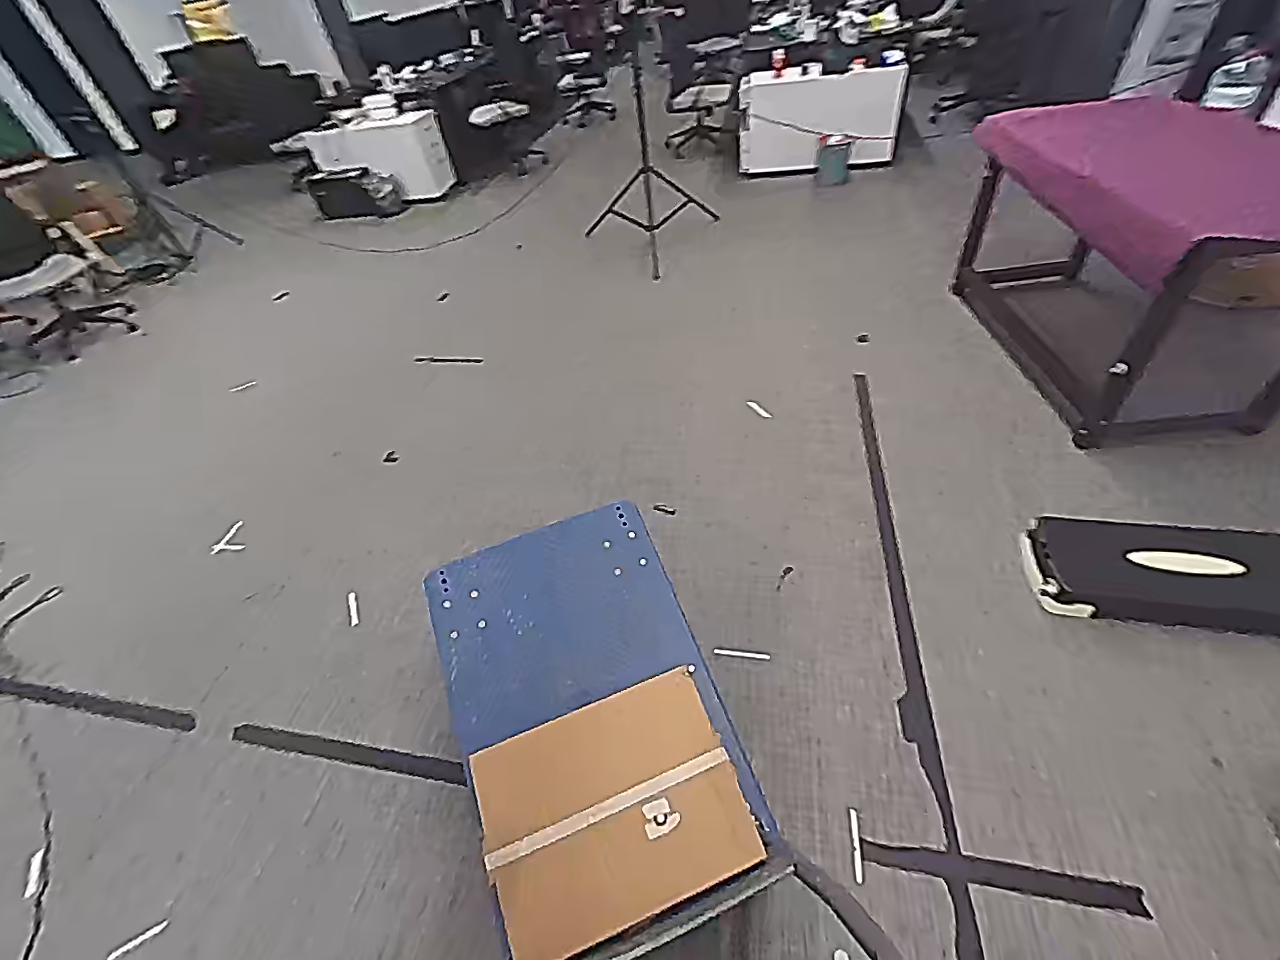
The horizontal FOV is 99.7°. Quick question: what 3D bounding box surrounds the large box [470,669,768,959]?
[{"bbox_3d":[-0.041,0.601,0.985,0.408,0.320,0.320,-20,63,-10],"label":"large box"}]
